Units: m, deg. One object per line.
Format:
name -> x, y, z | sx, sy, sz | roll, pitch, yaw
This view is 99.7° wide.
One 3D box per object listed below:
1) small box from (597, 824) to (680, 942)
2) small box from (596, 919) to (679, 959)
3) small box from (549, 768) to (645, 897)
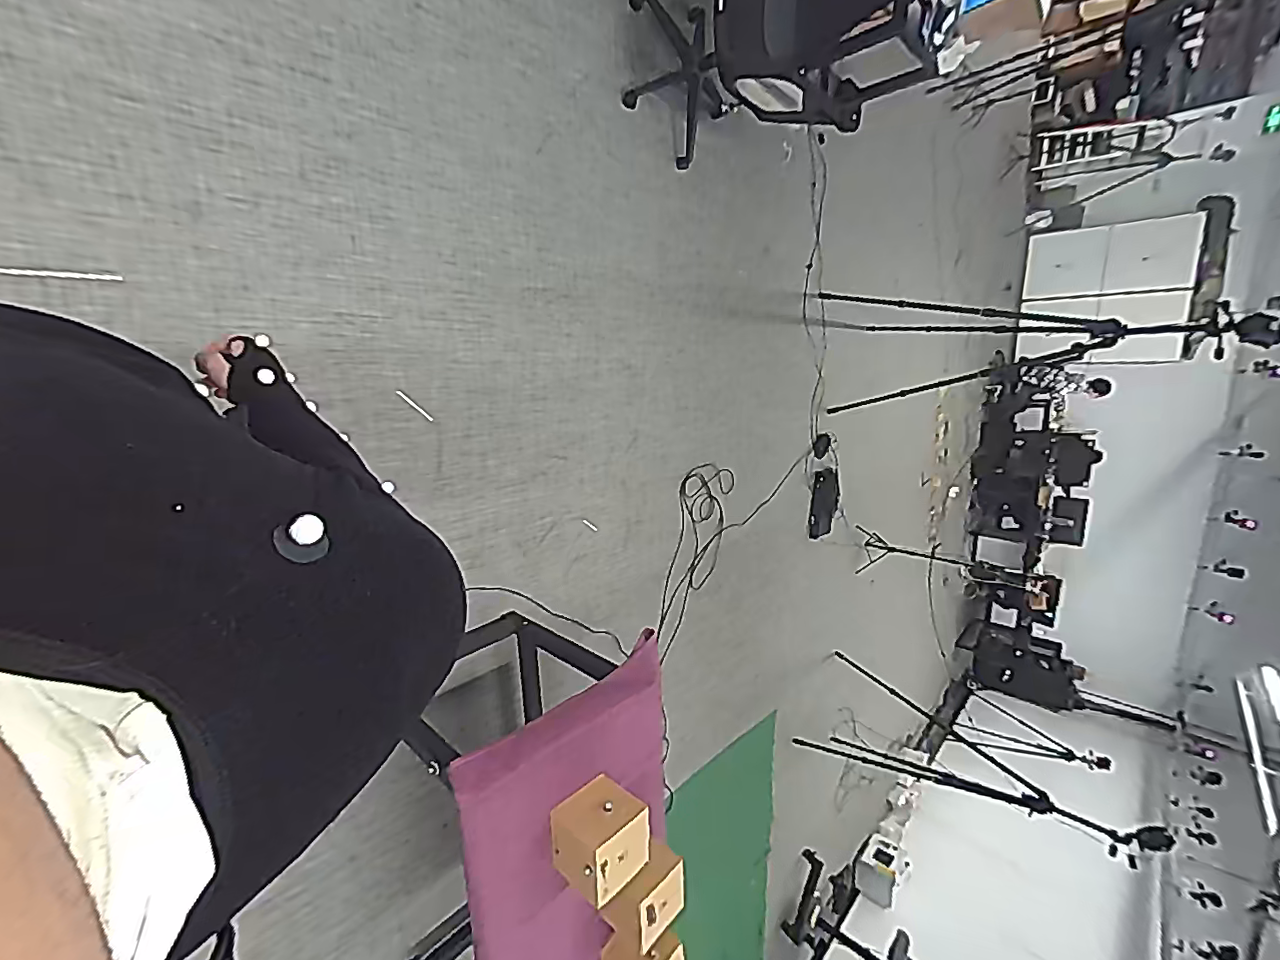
small box -> -0.010, 1.094, 1.493 | 0.179, 0.176, 0.168 | -16, 109, -45
small box -> -0.005, 1.372, 1.555 | 0.179, 0.176, 0.168 | -16, 108, -44
small box -> -0.106, 0.859, 1.340 | 0.179, 0.176, 0.168 | -14, 108, -45
